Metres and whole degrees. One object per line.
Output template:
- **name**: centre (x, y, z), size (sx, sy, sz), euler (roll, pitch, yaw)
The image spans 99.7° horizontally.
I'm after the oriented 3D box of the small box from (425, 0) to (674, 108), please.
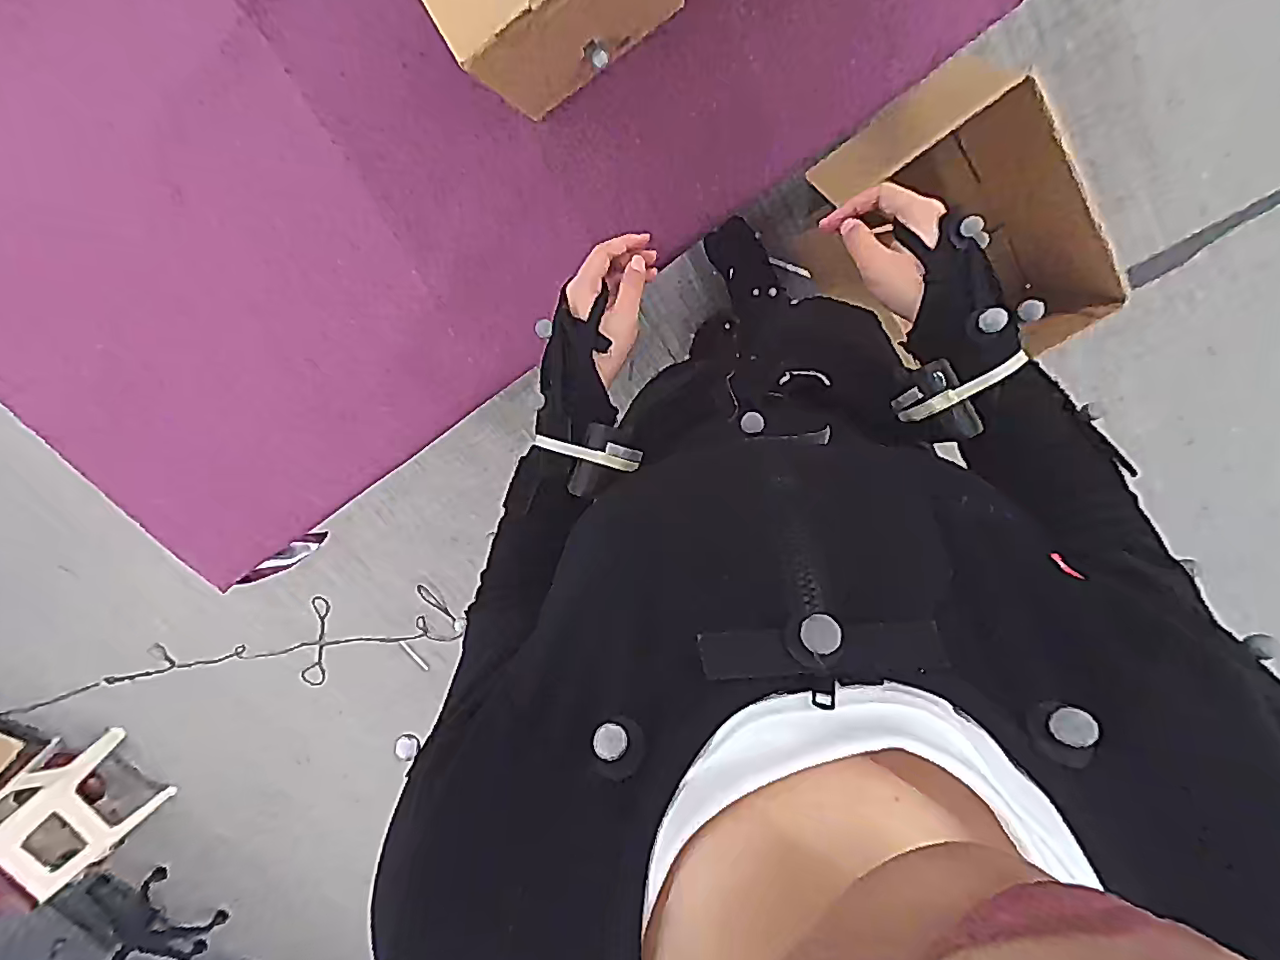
- **small box**: centre (-0.086, -0.420, 0.394), size (0.168, 0.176, 0.179), euler (-27, 107, 18)
